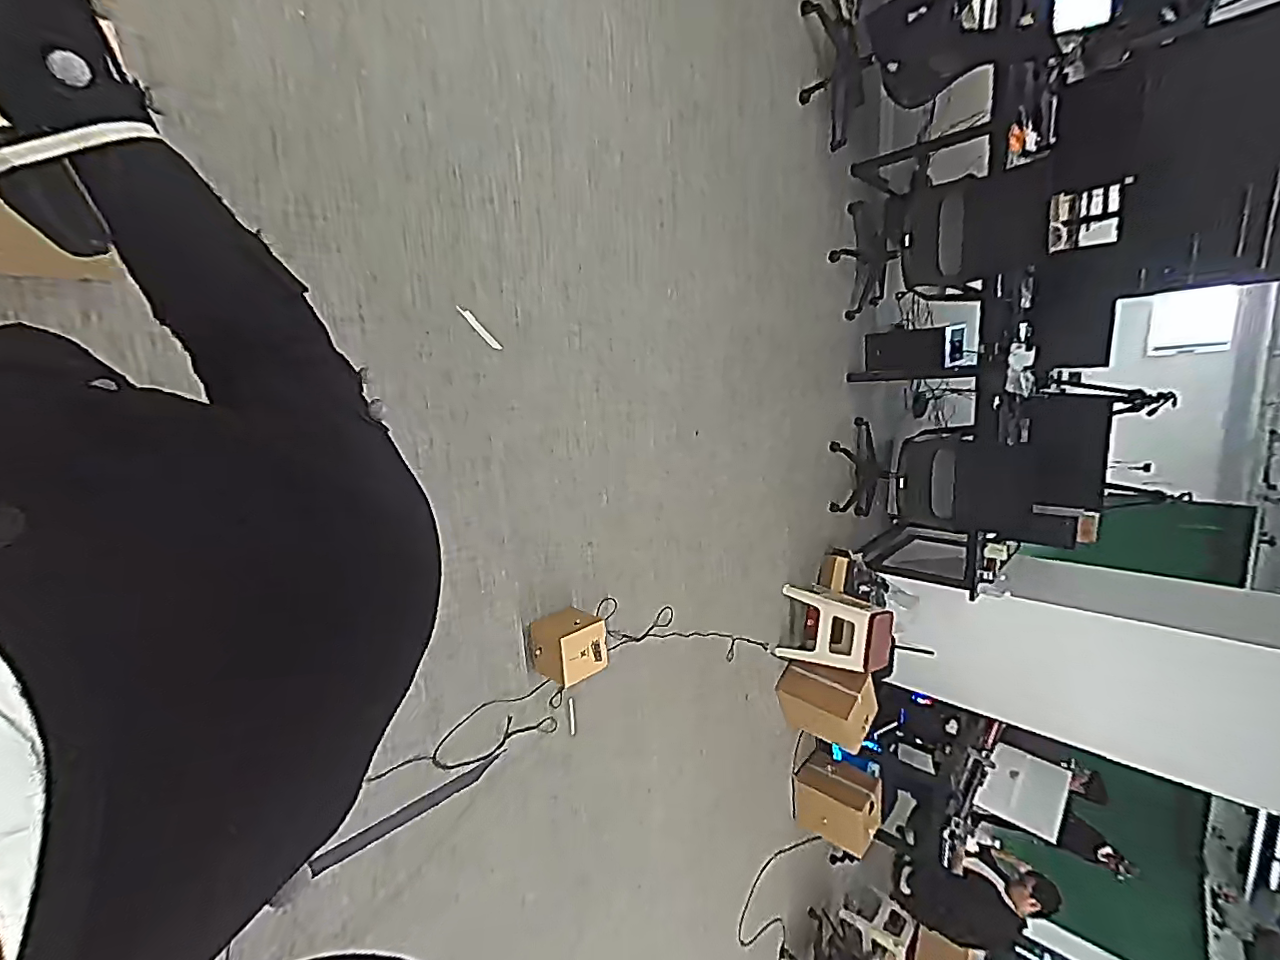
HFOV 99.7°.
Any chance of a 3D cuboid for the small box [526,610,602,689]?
[{"bbox_3d":[-0.244,0.536,1.738,0.179,0.176,0.168,-14,104,-44],"label":"small box"}]
